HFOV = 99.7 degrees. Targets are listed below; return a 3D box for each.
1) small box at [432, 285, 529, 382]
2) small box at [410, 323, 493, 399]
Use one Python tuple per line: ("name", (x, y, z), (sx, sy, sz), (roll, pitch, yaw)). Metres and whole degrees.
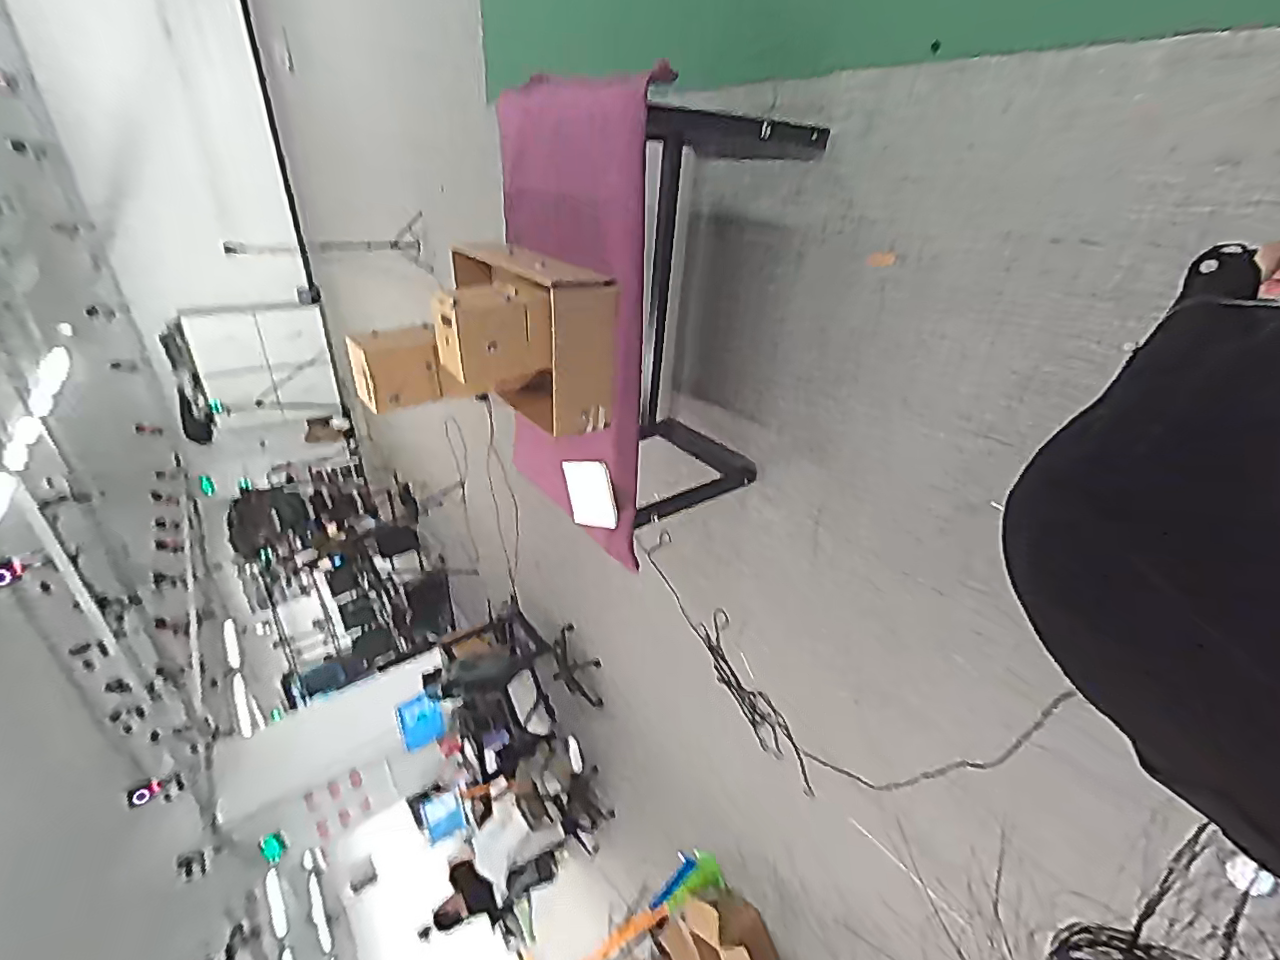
("small box", (-0.380, -0.361, 1.305), (0.168, 0.176, 0.179), (39, 137, 41))
("small box", (-0.523, -0.348, 1.527), (0.179, 0.176, 0.168), (36, 133, 39))
